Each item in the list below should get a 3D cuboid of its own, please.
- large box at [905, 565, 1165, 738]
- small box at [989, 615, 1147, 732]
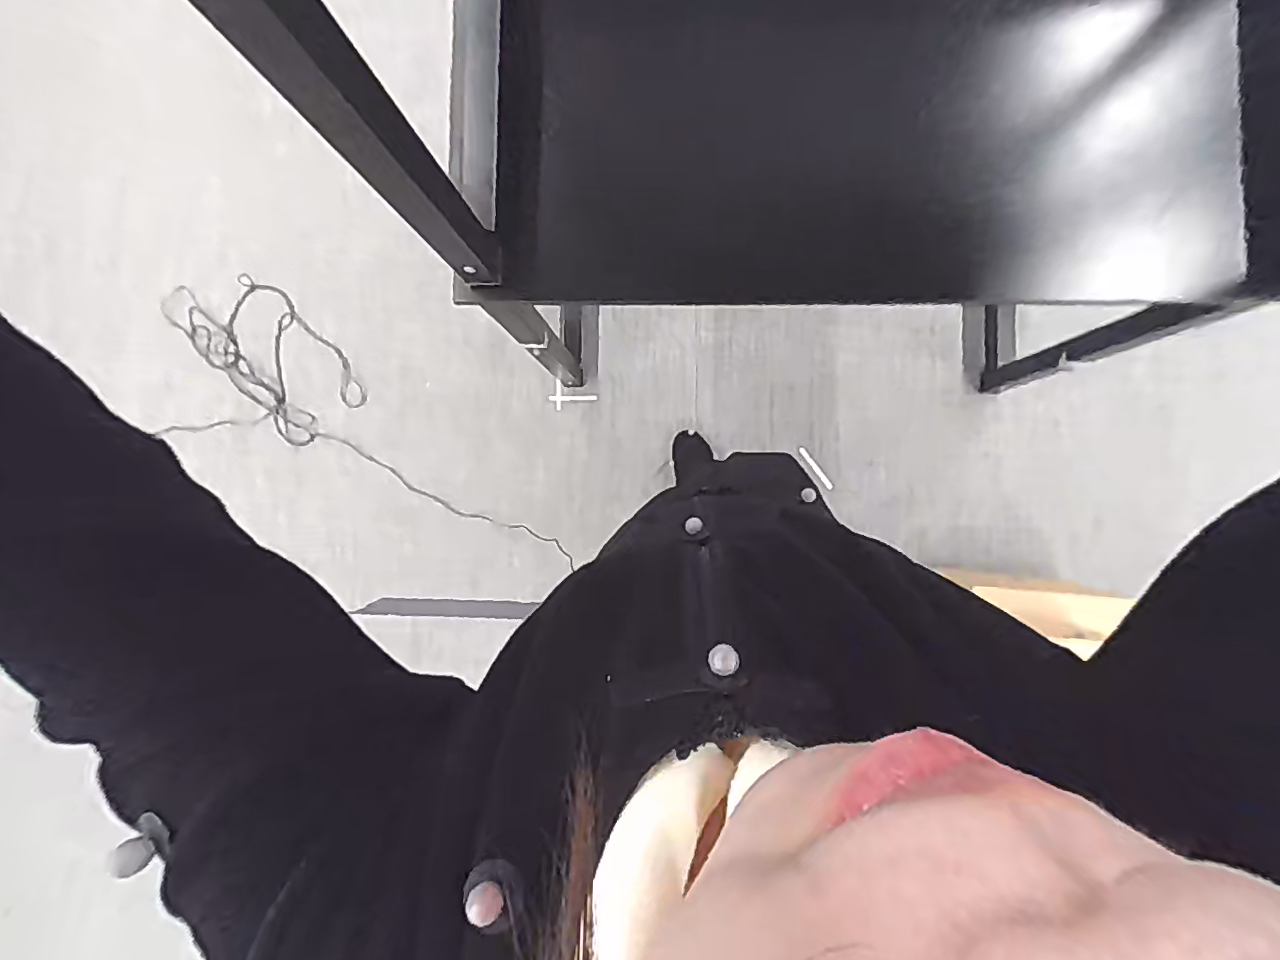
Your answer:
[{"bbox_3d":[0.900,0.382,1.290,0.408,0.320,0.320,4,90,3],"label":"large box"},{"bbox_3d":[0.820,0.365,1.049,0.179,0.176,0.168,4,87,4],"label":"small box"}]
